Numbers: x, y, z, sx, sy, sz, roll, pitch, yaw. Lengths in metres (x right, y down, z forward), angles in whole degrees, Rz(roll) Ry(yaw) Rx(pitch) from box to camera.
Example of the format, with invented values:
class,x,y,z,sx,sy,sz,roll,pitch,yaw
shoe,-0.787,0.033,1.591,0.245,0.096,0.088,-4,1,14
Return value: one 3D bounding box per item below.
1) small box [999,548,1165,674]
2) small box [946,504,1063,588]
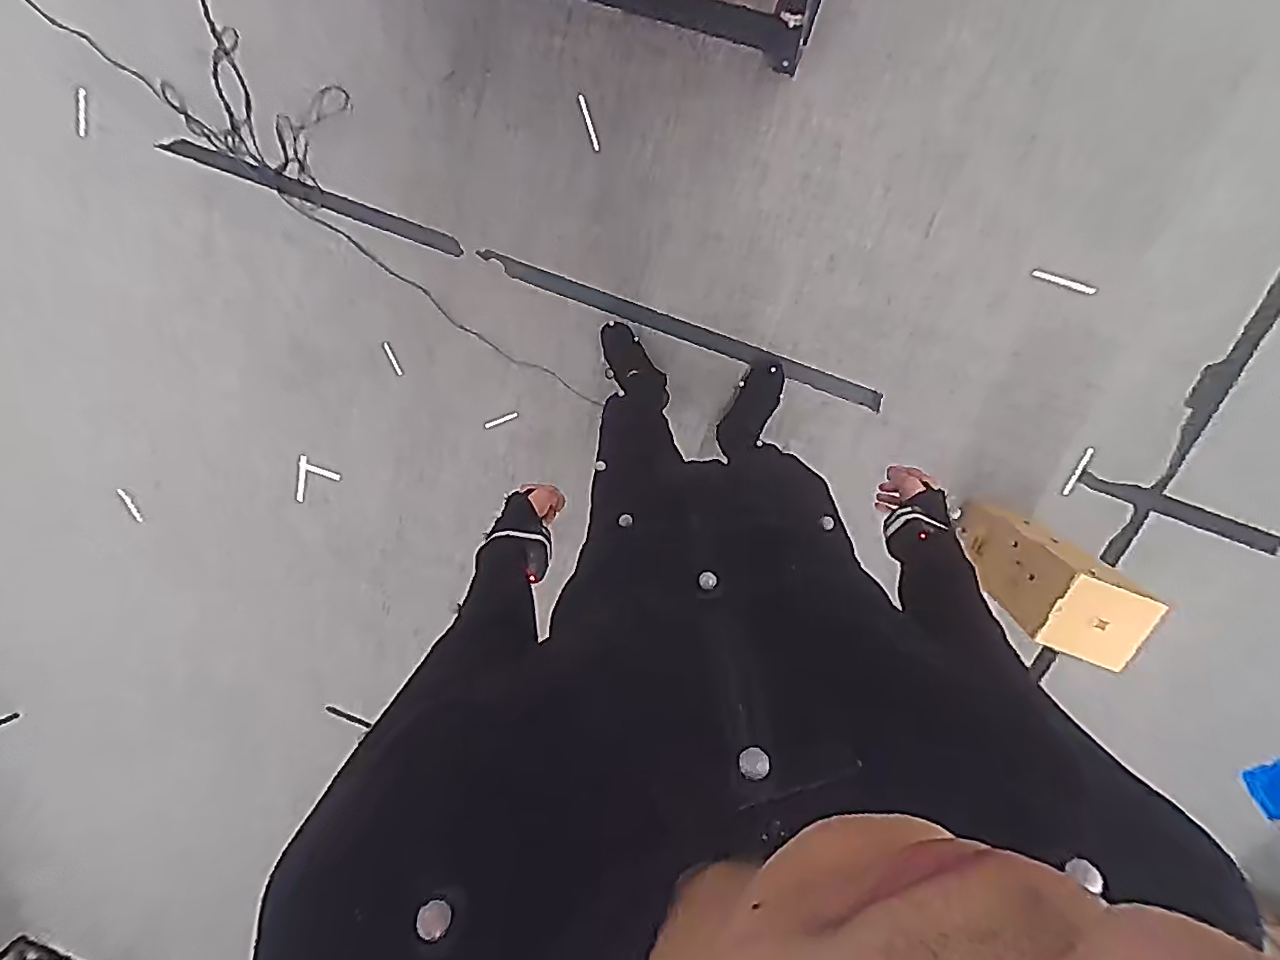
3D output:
class,x,y,z,sx,sy,sz,roll,pitch,yaw
small box,0.910,0.265,1.135,0.179,0.176,0.168,21,109,5
small box,0.963,0.180,1.447,0.179,0.176,0.168,18,108,7
